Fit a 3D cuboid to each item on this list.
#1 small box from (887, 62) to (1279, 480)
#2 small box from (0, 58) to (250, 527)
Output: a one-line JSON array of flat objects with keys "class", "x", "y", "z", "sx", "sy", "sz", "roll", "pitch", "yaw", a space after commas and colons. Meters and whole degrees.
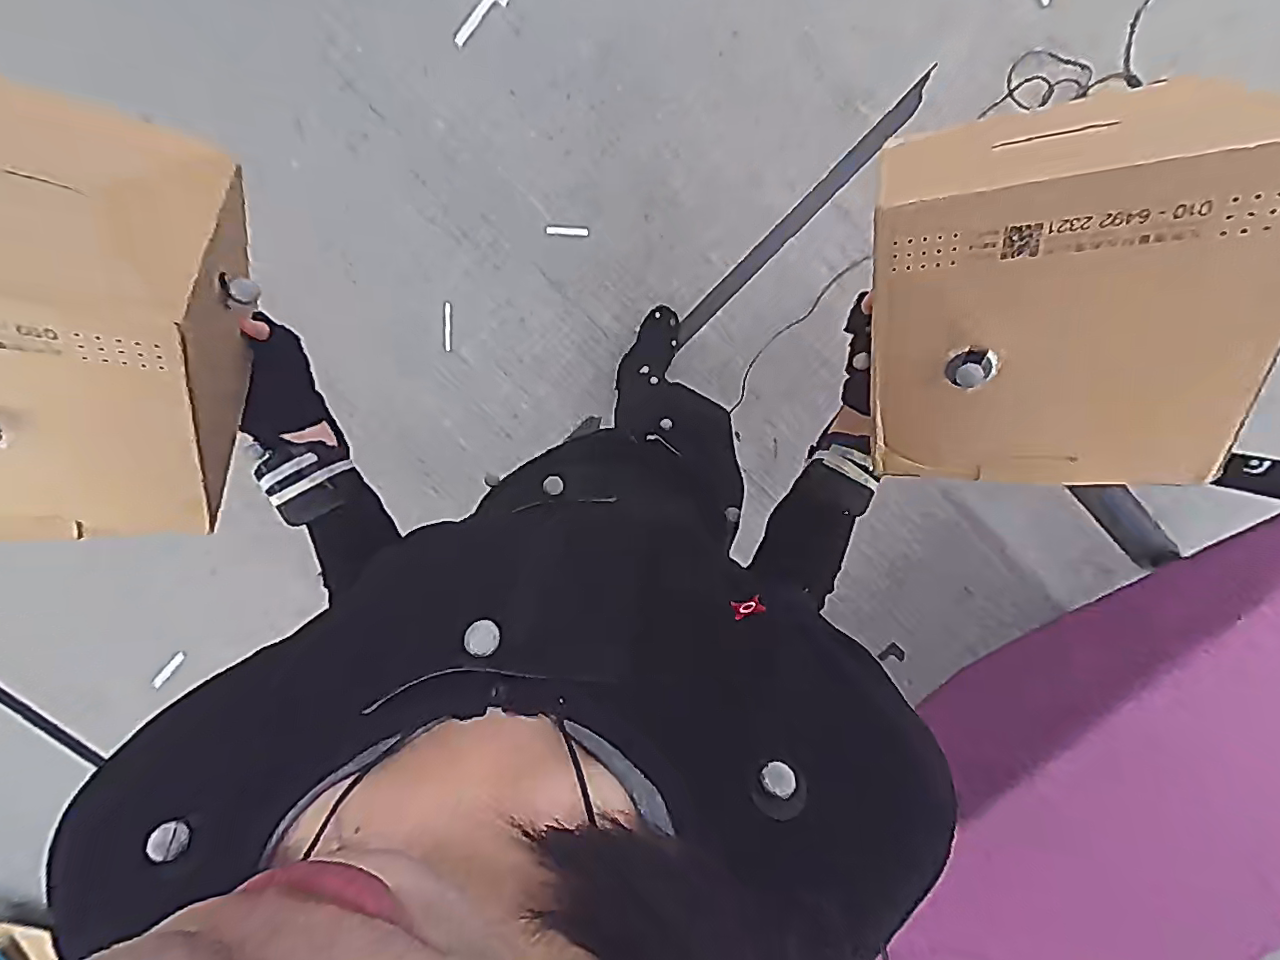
[{"class": "small box", "x": 0.237, "y": -0.119, "z": 0.317, "sx": 0.168, "sy": 0.179, "sz": 0.176, "roll": 3, "pitch": 130, "yaw": 24}, {"class": "small box", "x": -0.318, "y": -0.094, "z": 0.281, "sx": 0.168, "sy": 0.179, "sz": 0.176, "roll": 6, "pitch": 138, "yaw": -30}]
